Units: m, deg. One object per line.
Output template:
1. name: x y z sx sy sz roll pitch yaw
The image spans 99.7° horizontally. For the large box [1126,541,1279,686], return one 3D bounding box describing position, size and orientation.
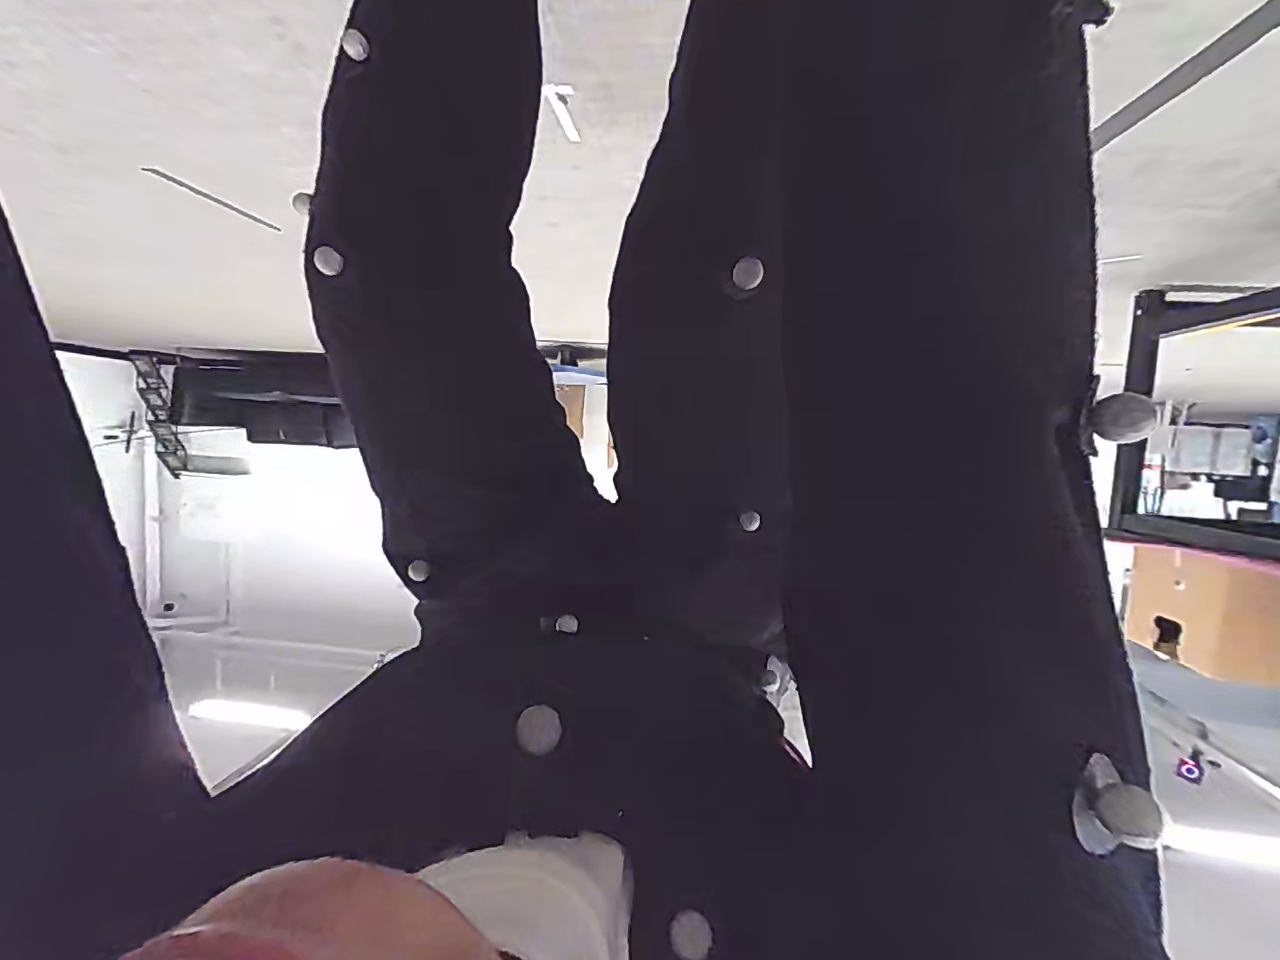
1. large box: 1.656 0.351 1.461 0.408 0.320 0.320 3 -175 7
